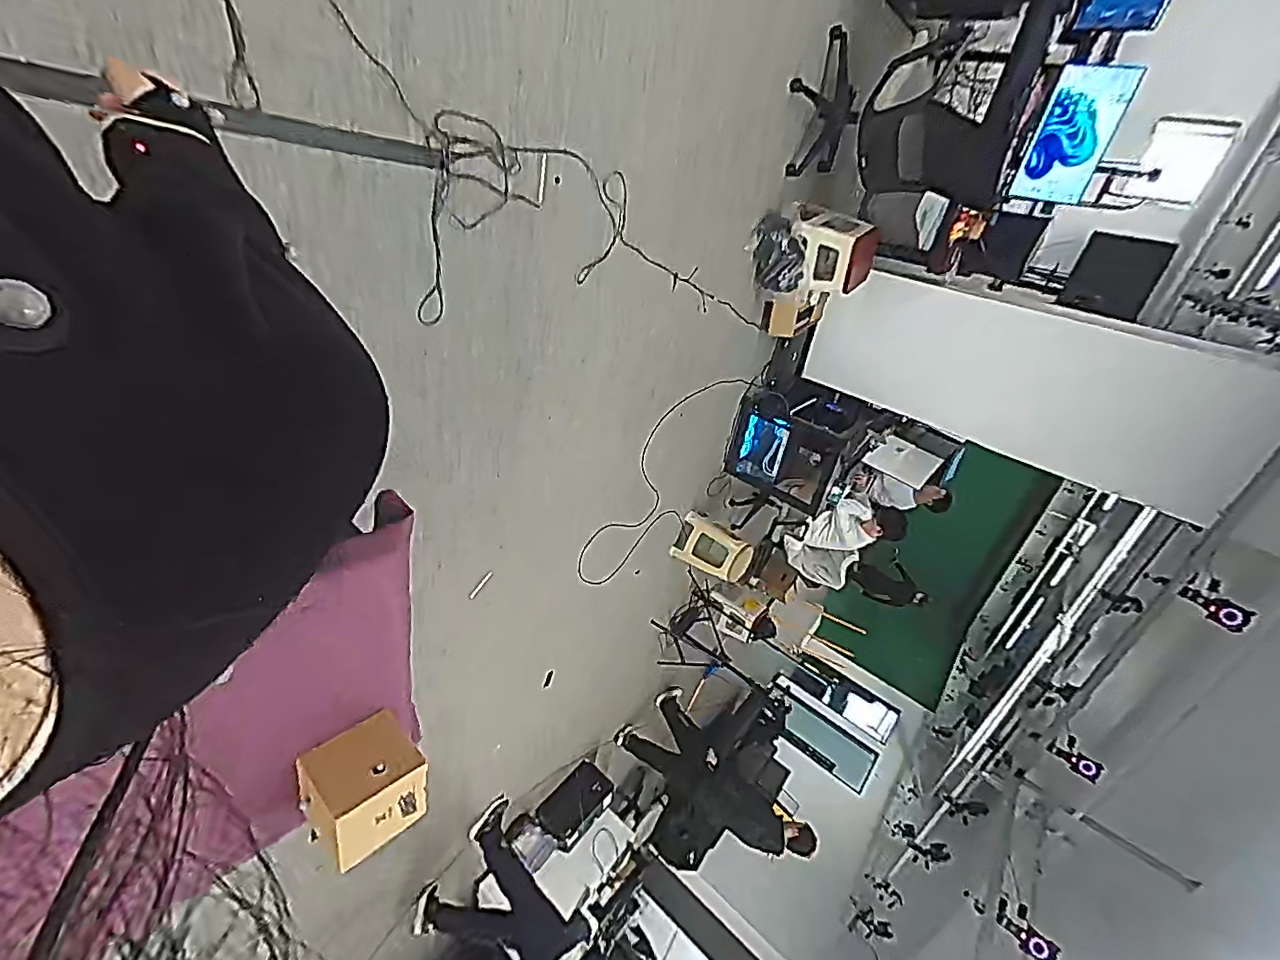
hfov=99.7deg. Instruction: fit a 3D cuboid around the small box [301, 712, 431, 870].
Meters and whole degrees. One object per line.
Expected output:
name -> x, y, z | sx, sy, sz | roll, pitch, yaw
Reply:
small box -> -0.546, 0.608, 1.083 | 0.179, 0.176, 0.168 | -19, 129, -48
